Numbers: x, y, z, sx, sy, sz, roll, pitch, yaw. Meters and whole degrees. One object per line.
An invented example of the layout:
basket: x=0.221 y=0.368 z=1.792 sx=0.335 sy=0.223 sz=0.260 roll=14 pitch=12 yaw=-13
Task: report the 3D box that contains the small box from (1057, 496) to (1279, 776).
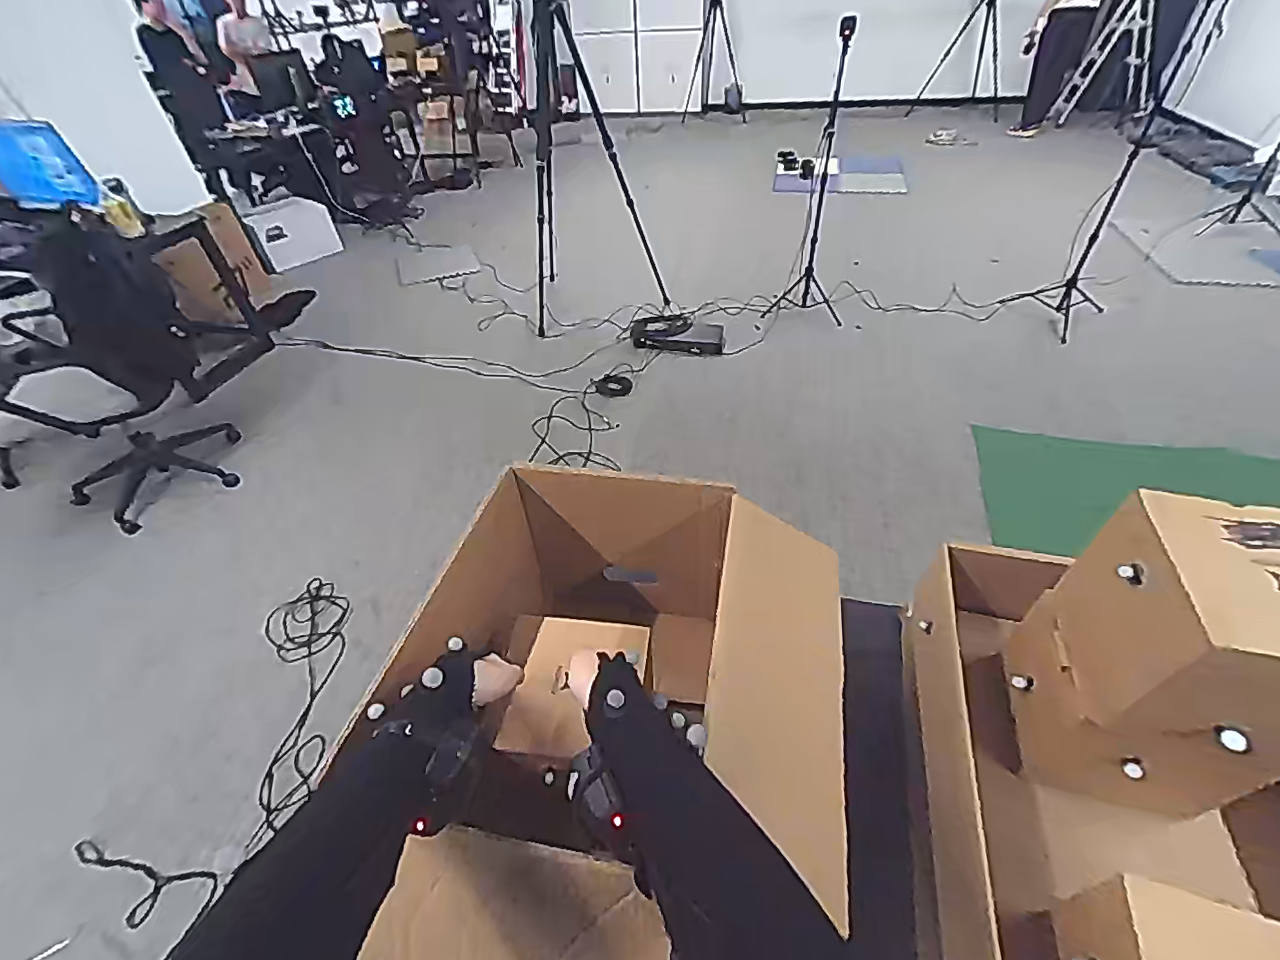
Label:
small box: x=0.539 y=0.145 z=0.513 sx=0.168 sy=0.176 sz=0.179 roll=9 pitch=46 yaw=13
